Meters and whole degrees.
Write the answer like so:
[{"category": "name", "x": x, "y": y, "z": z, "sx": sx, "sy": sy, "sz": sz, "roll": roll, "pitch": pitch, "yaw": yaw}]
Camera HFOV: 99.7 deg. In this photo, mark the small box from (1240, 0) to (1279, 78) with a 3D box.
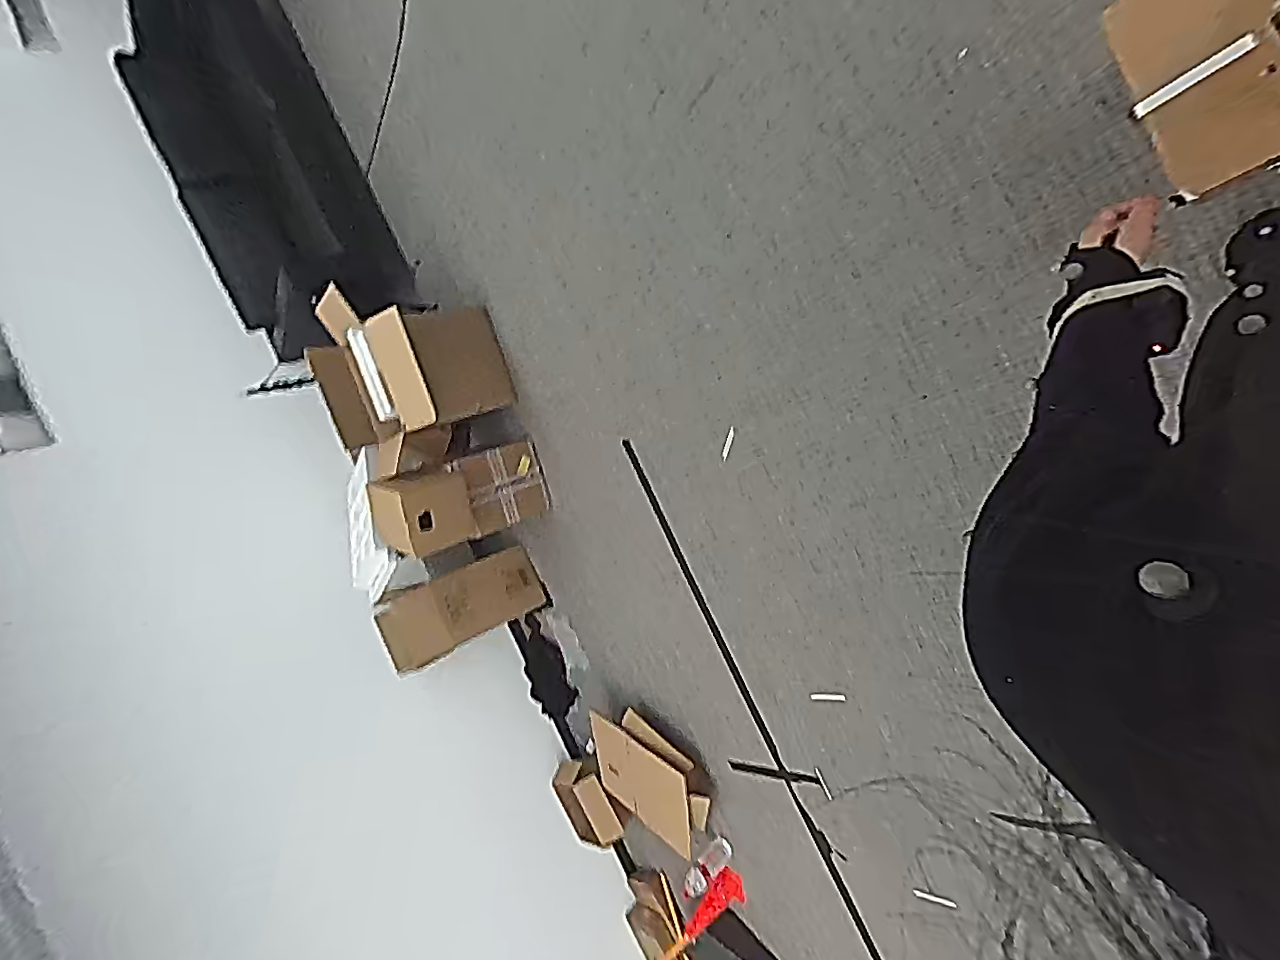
[{"category": "small box", "x": 0.807, "y": -0.566, "z": 0.590, "sx": 0.179, "sy": 0.176, "sz": 0.168, "roll": -29, "pitch": 88, "yaw": 50}]
